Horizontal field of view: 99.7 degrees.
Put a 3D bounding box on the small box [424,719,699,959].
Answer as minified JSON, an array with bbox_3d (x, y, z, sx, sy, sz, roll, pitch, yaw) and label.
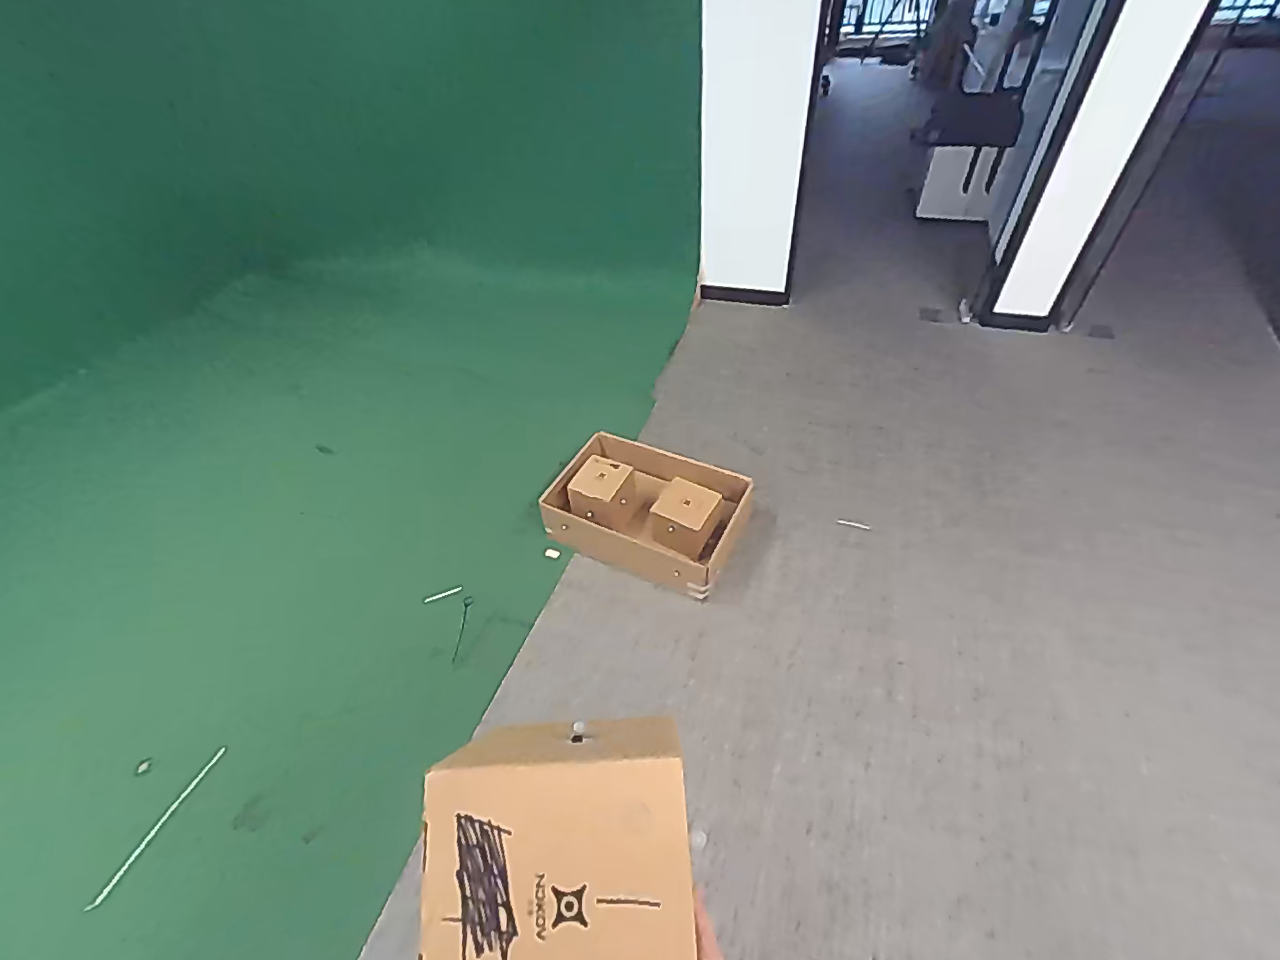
[{"bbox_3d":[-0.049,0.290,0.423,0.179,0.176,0.168,-3,75,0],"label":"small box"}]
